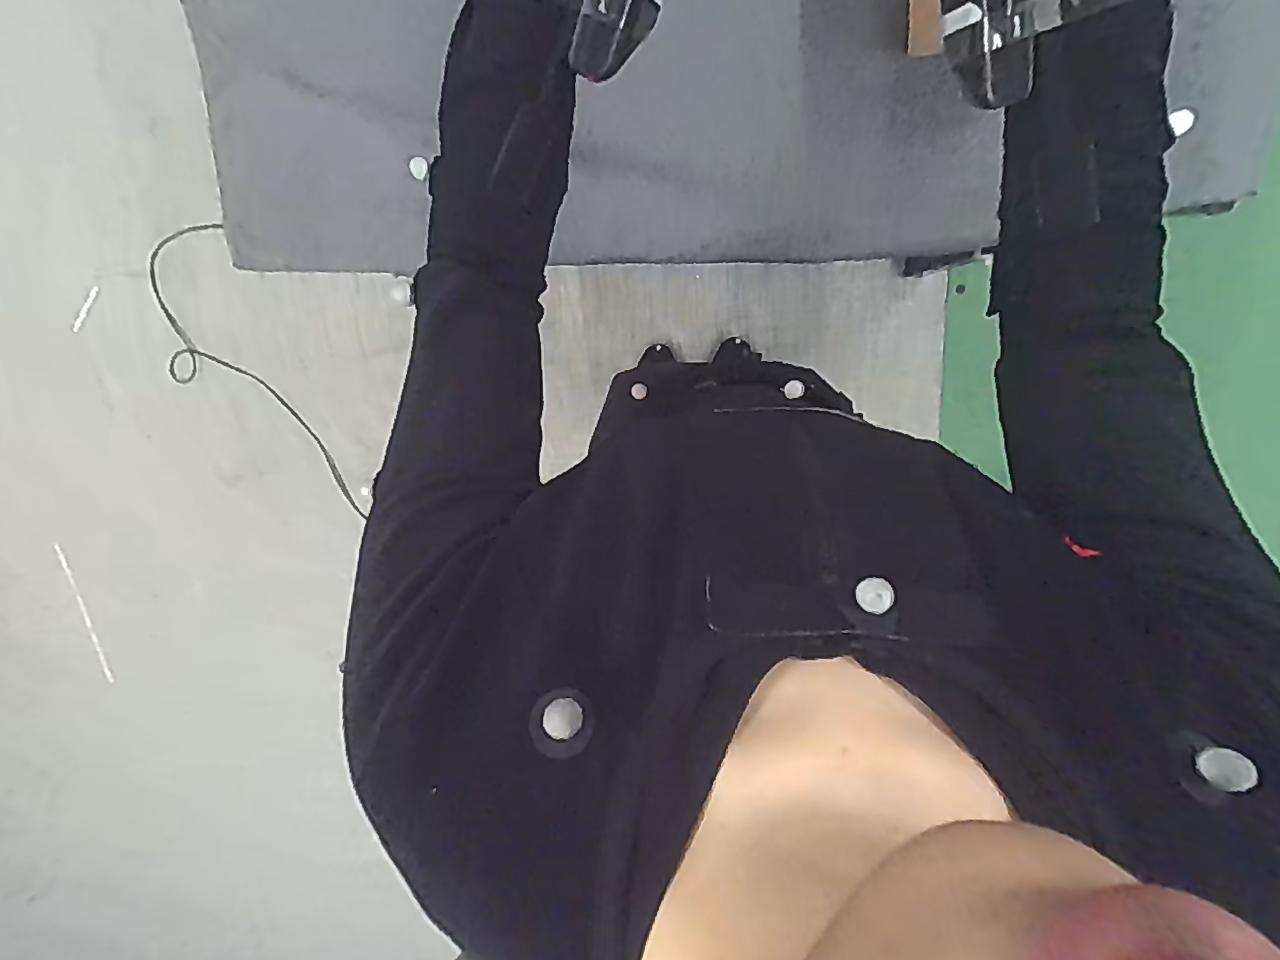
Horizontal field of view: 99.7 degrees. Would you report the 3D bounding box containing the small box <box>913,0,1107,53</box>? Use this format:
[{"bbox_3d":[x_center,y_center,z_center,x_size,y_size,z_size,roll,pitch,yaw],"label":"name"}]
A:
[{"bbox_3d":[0.380,-0.552,0.511,0.168,0.176,0.179,-3,103,3],"label":"small box"}]
